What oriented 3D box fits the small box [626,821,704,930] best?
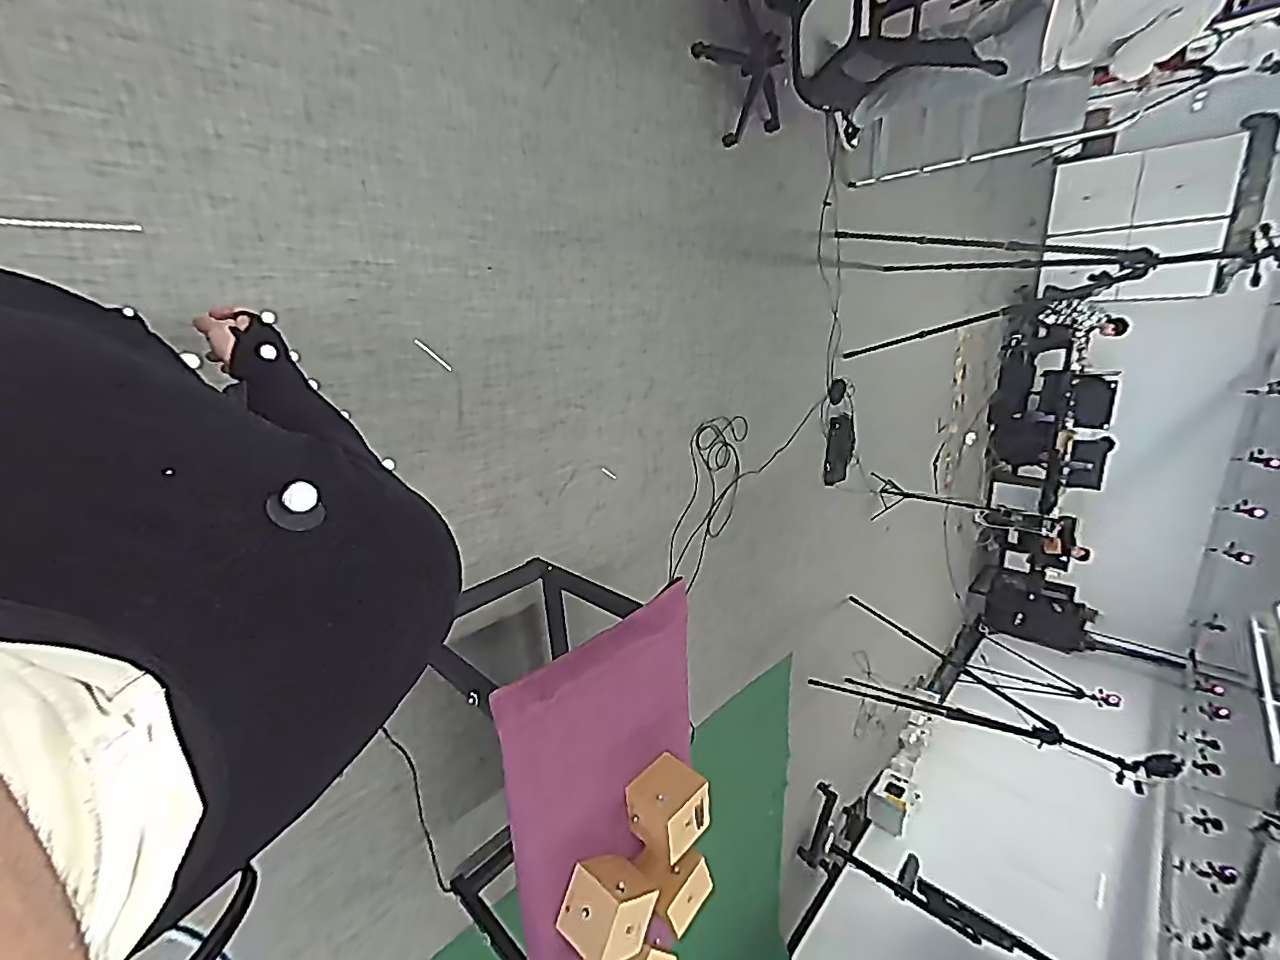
[{"bbox_3d":[0.068,1.208,1.662,0.179,0.176,0.168,-36,124,-36],"label":"small box"}]

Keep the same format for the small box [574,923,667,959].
[{"bbox_3d":[-0.056,1.382,1.568,0.168,0.176,0.179,-54,132,-24],"label":"small box"}]

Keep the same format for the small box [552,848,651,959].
[{"bbox_3d":[-0.106,1.129,1.449,0.179,0.176,0.168,30,78,-48],"label":"small box"}]
